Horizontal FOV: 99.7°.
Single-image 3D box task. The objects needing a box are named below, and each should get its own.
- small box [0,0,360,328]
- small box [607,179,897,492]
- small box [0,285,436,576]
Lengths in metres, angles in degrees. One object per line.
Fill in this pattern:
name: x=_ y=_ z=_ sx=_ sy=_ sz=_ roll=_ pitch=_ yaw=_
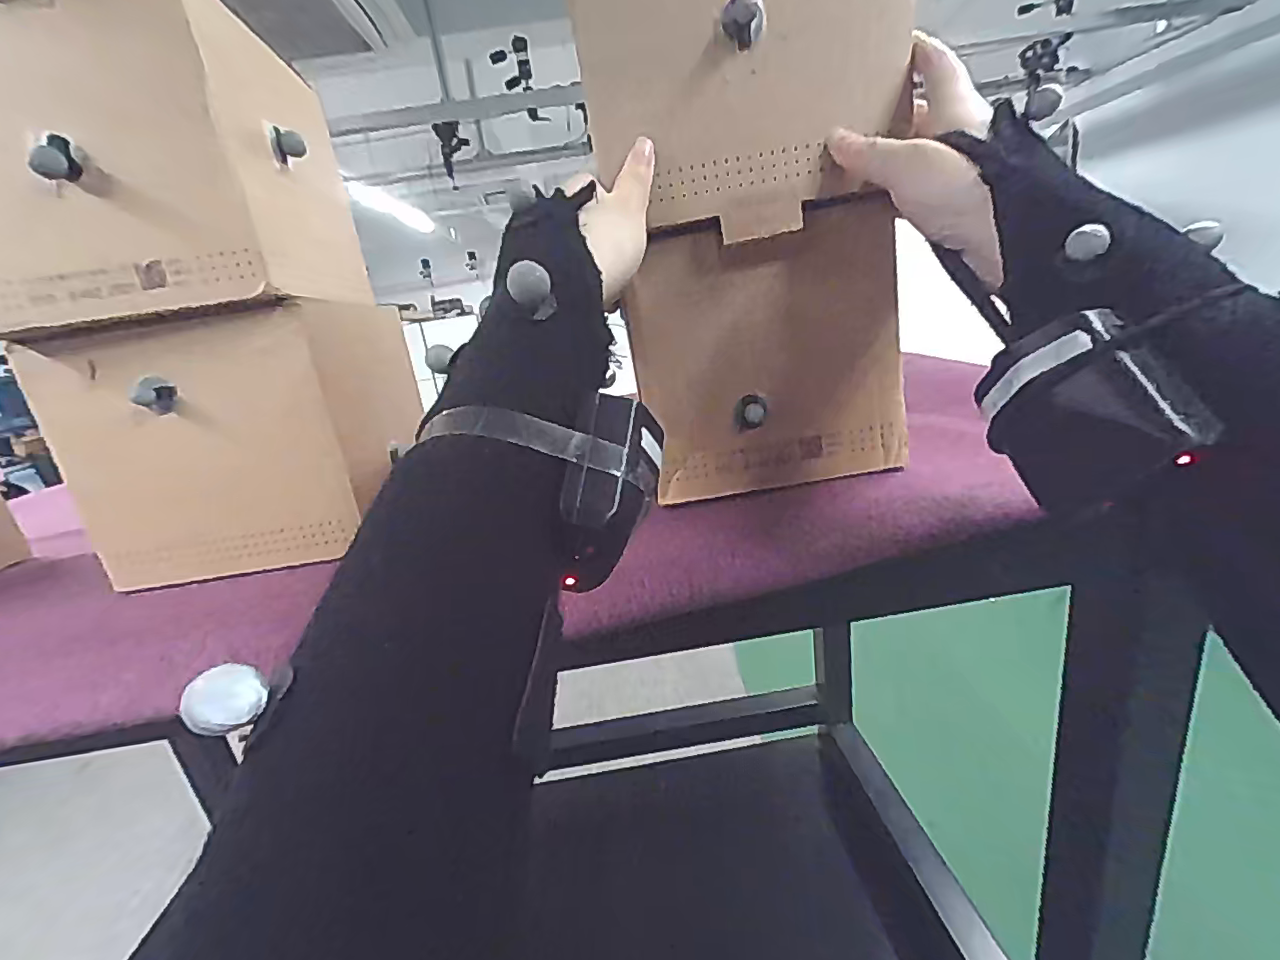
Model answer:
small box: x=-0.312 y=-0.192 z=0.353 sx=0.168 sy=0.176 sz=0.179 roll=-11 pitch=17 yaw=-5
small box: x=0.074 y=-0.100 z=0.410 sx=0.168 sy=0.176 sz=0.179 roll=-10 pitch=15 yaw=2
small box: x=-0.282 y=-0.041 z=0.410 sx=0.179 sy=0.176 sz=0.168 roll=-9 pitch=16 yaw=-1
